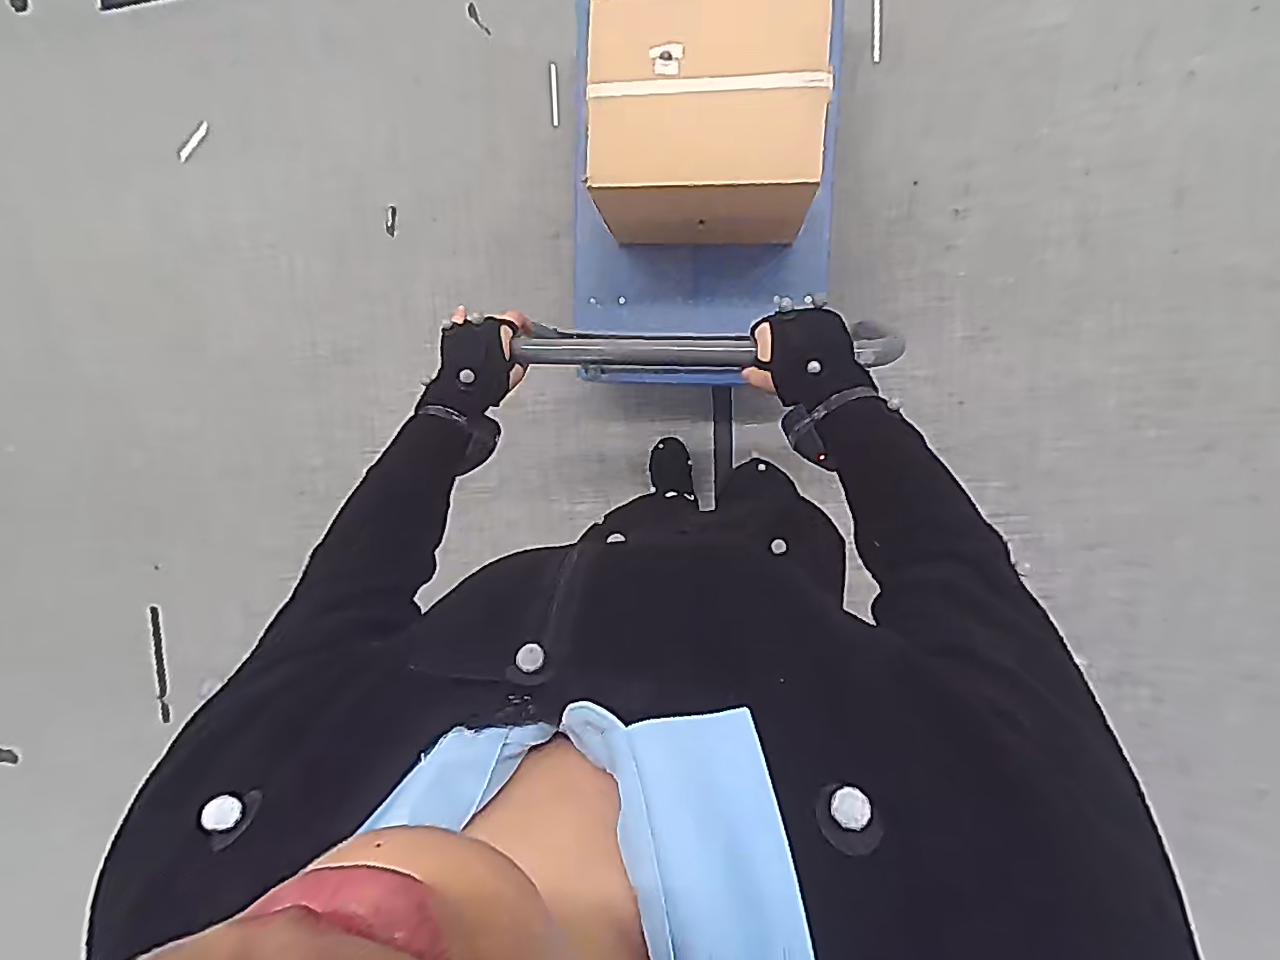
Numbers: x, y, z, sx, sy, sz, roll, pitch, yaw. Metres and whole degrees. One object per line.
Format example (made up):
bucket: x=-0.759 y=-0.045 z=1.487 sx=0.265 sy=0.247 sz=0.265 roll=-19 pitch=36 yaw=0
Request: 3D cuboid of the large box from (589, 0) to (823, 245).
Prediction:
large box: x=0.130 y=-0.681 z=1.084 sx=0.408 sy=0.320 sz=0.320 roll=2 pitch=95 yaw=8
